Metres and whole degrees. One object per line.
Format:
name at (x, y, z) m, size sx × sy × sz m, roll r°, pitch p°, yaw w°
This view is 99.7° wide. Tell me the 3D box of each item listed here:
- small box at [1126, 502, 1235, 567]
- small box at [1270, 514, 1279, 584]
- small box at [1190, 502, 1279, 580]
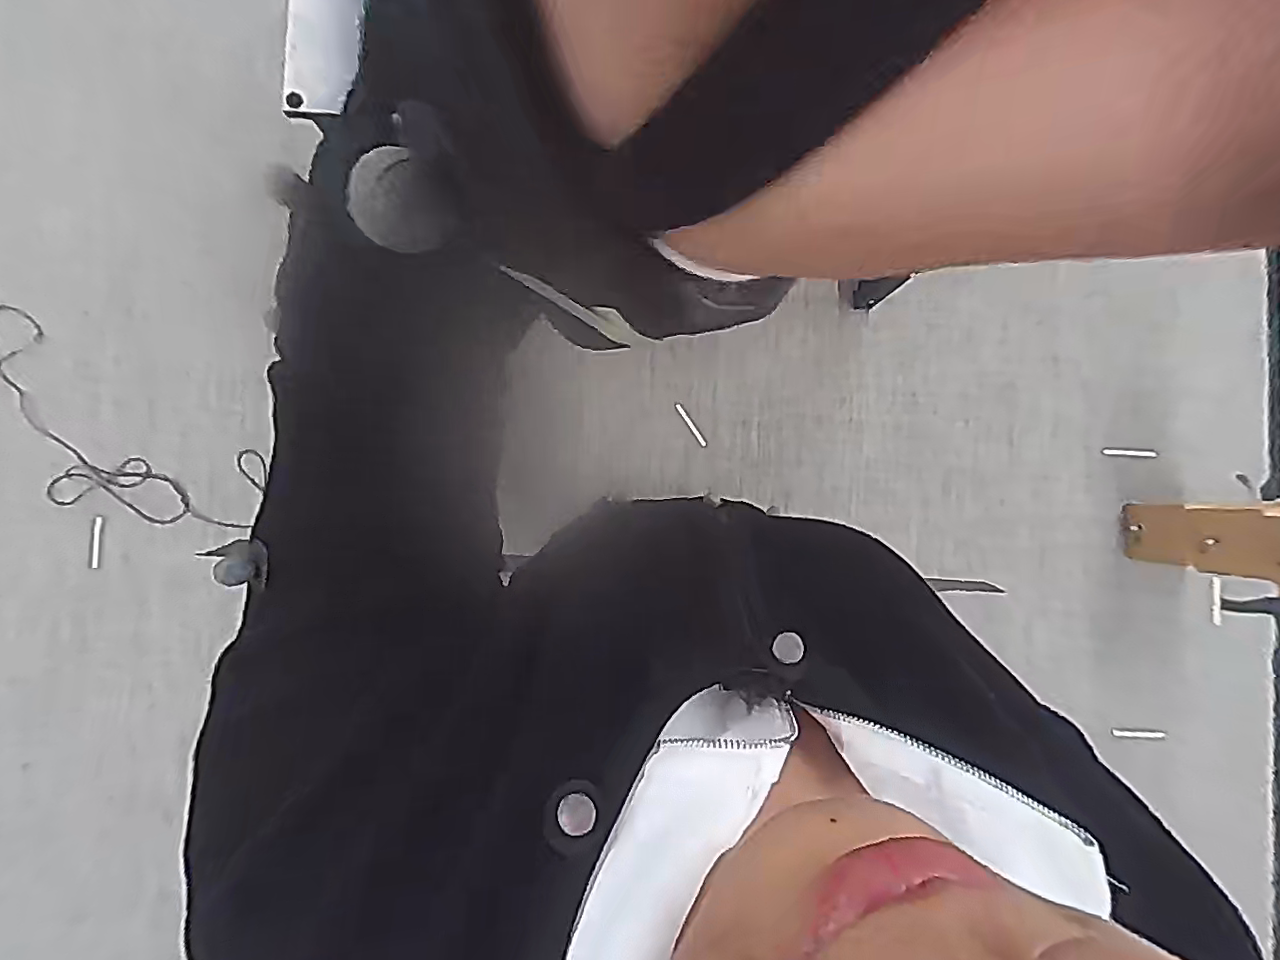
small box at (1.483, 0.144, 1.468) m, size 0.179 × 0.176 × 0.168 m, roll -1°, pitch 87°, yaw -1°
small box at (1.503, 0.147, 1.140) m, size 0.179 × 0.176 × 0.168 m, roll -8°, pitch 87°, yaw -2°
small box at (1.502, 0.141, 1.304) m, size 0.179 × 0.176 × 0.168 m, roll -6°, pitch 87°, yaw -2°
